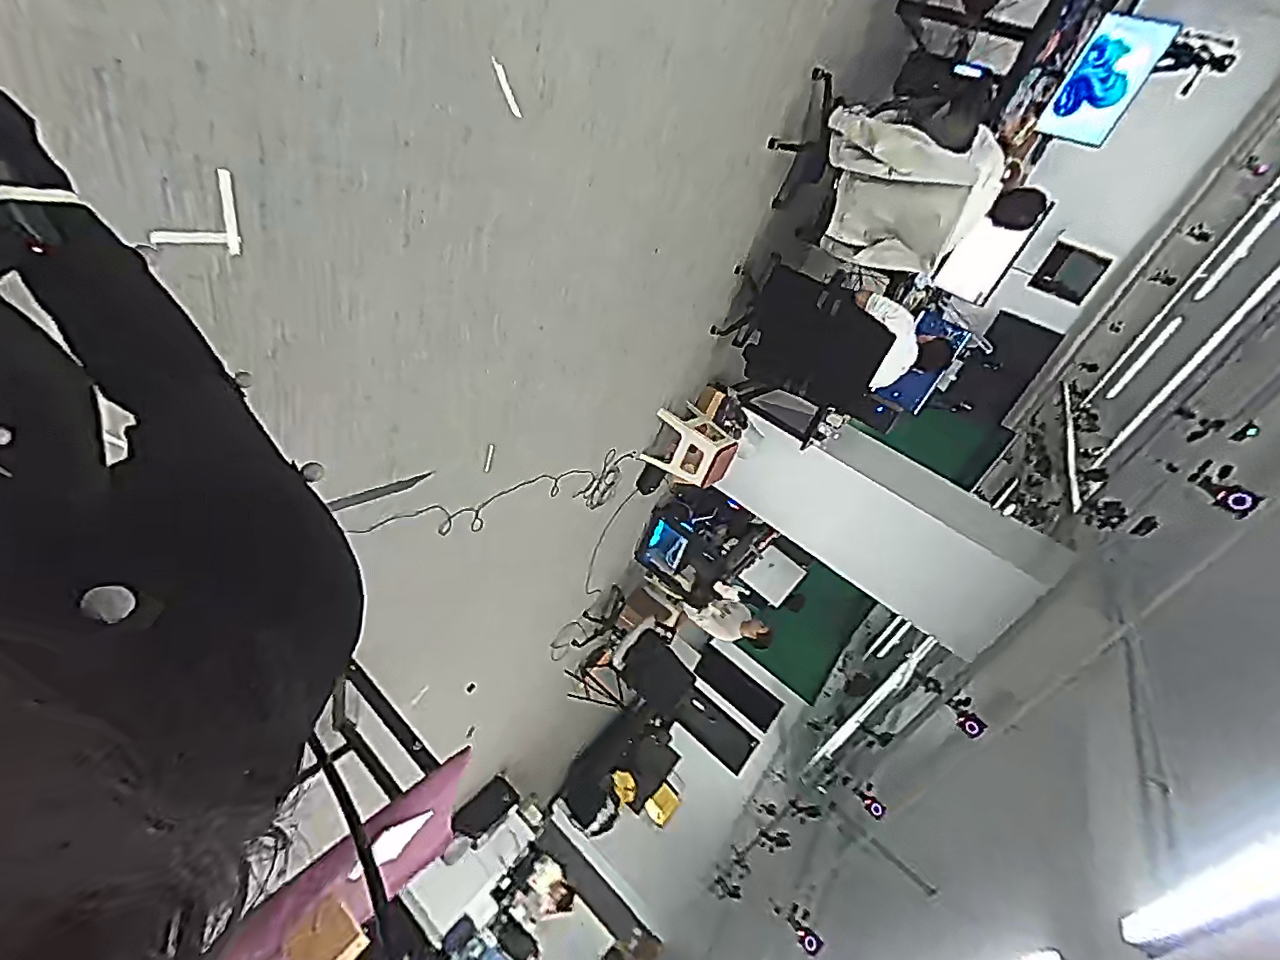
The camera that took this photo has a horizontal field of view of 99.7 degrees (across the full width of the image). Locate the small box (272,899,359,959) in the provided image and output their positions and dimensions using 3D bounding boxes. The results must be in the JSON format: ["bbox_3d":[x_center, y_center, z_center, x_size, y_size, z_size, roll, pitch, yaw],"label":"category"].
[{"bbox_3d":[-1.032,1.492,1.716,0.179,0.176,0.168,-34,151,-40],"label":"small box"}]
